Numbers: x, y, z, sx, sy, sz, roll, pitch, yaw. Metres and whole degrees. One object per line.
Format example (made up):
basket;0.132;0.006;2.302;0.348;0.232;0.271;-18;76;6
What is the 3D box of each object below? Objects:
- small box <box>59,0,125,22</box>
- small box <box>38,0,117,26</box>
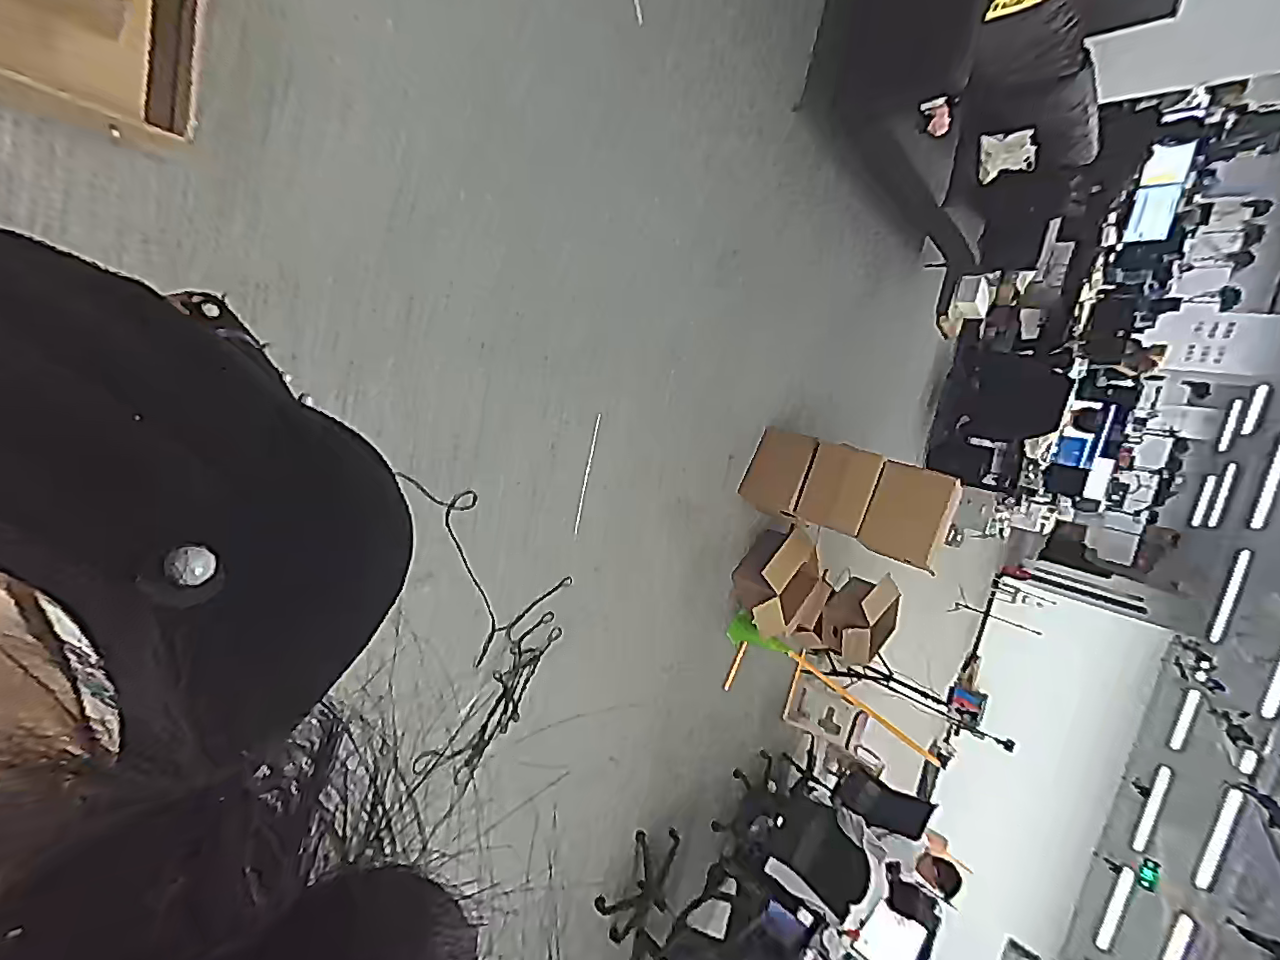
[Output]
small box;-0.795;-0.772;0.718;0.168;0.176;0.179;2;103;-47
small box;-0.910;-0.838;0.816;0.179;0.176;0.168;-4;109;-46
